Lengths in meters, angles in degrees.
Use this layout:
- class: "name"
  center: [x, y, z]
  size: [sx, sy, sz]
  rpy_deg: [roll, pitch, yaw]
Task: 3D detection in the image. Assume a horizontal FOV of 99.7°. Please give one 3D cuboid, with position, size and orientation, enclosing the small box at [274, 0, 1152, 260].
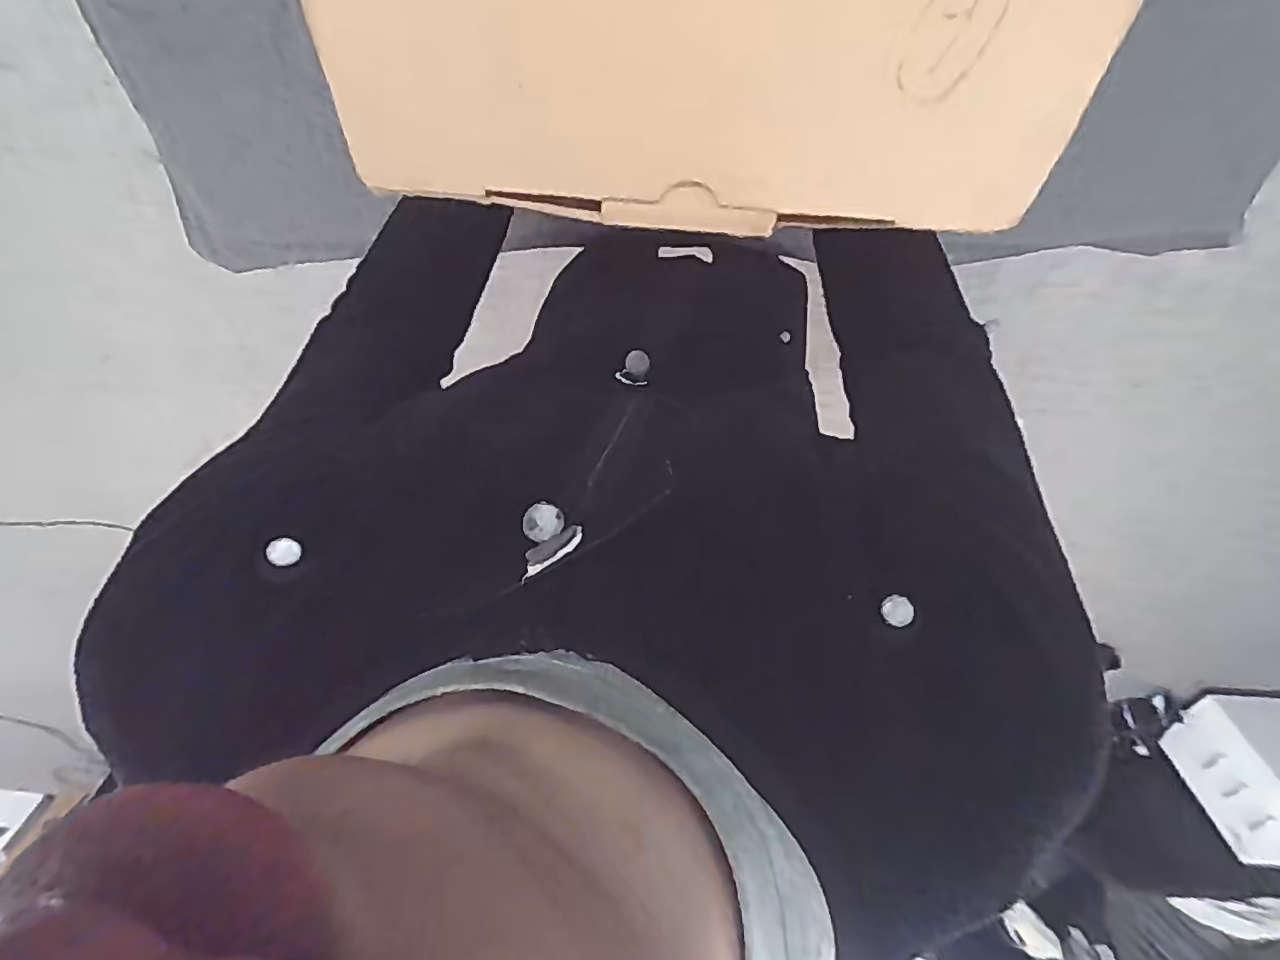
- class: "small box"
  center: [0.017, -0.178, 0.126]
  size: [0.168, 0.176, 0.179]
  rpy_deg: [3, 137, -1]
